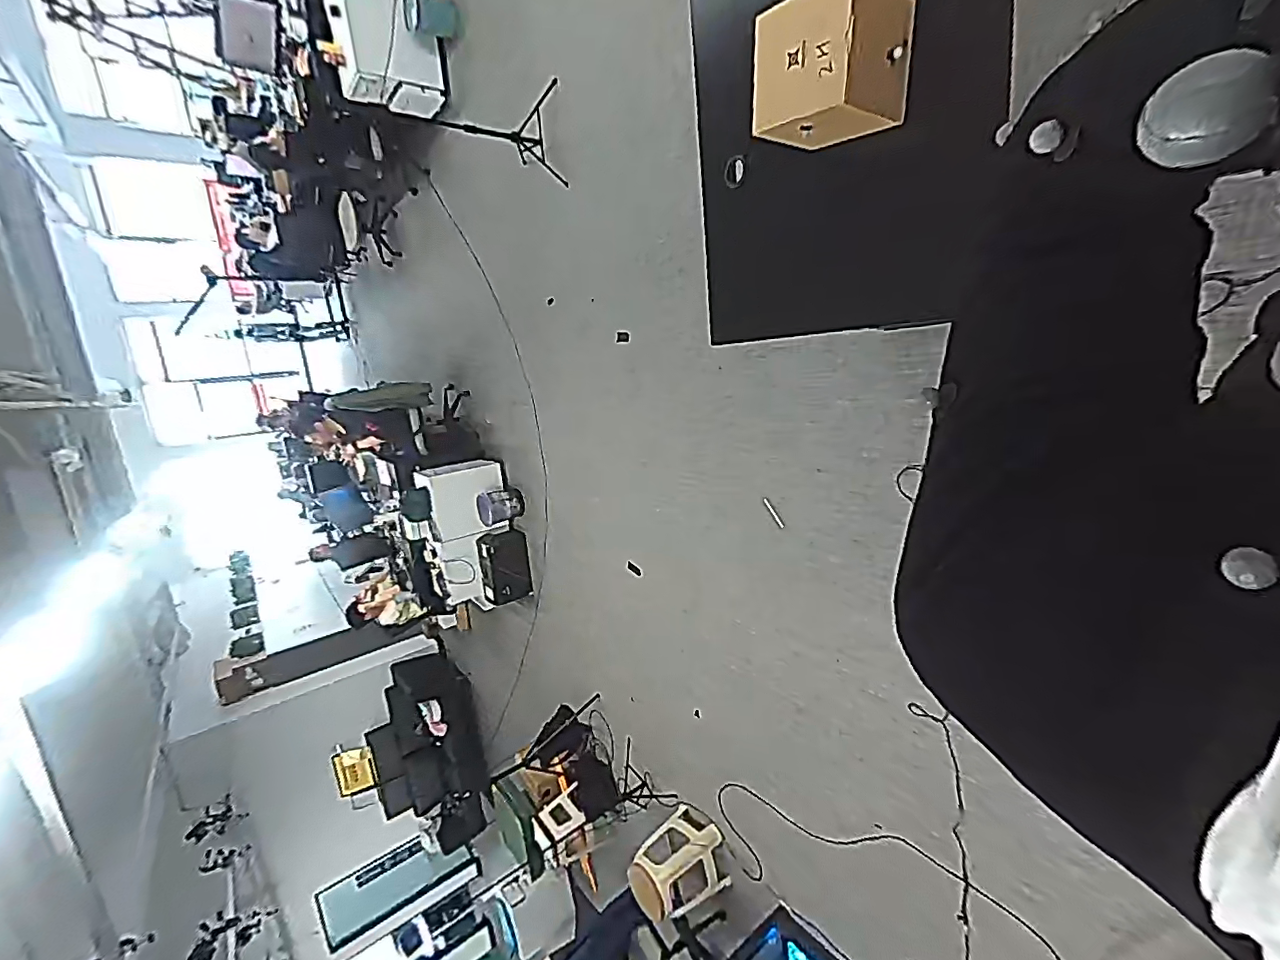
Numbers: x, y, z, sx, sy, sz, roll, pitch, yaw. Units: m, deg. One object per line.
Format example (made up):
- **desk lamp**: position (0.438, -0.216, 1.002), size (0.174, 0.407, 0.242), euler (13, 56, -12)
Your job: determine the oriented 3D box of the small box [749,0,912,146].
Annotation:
- **small box**: position (0.296, -0.649, 0.856), size (0.179, 0.176, 0.168), euler (19, 118, 50)
